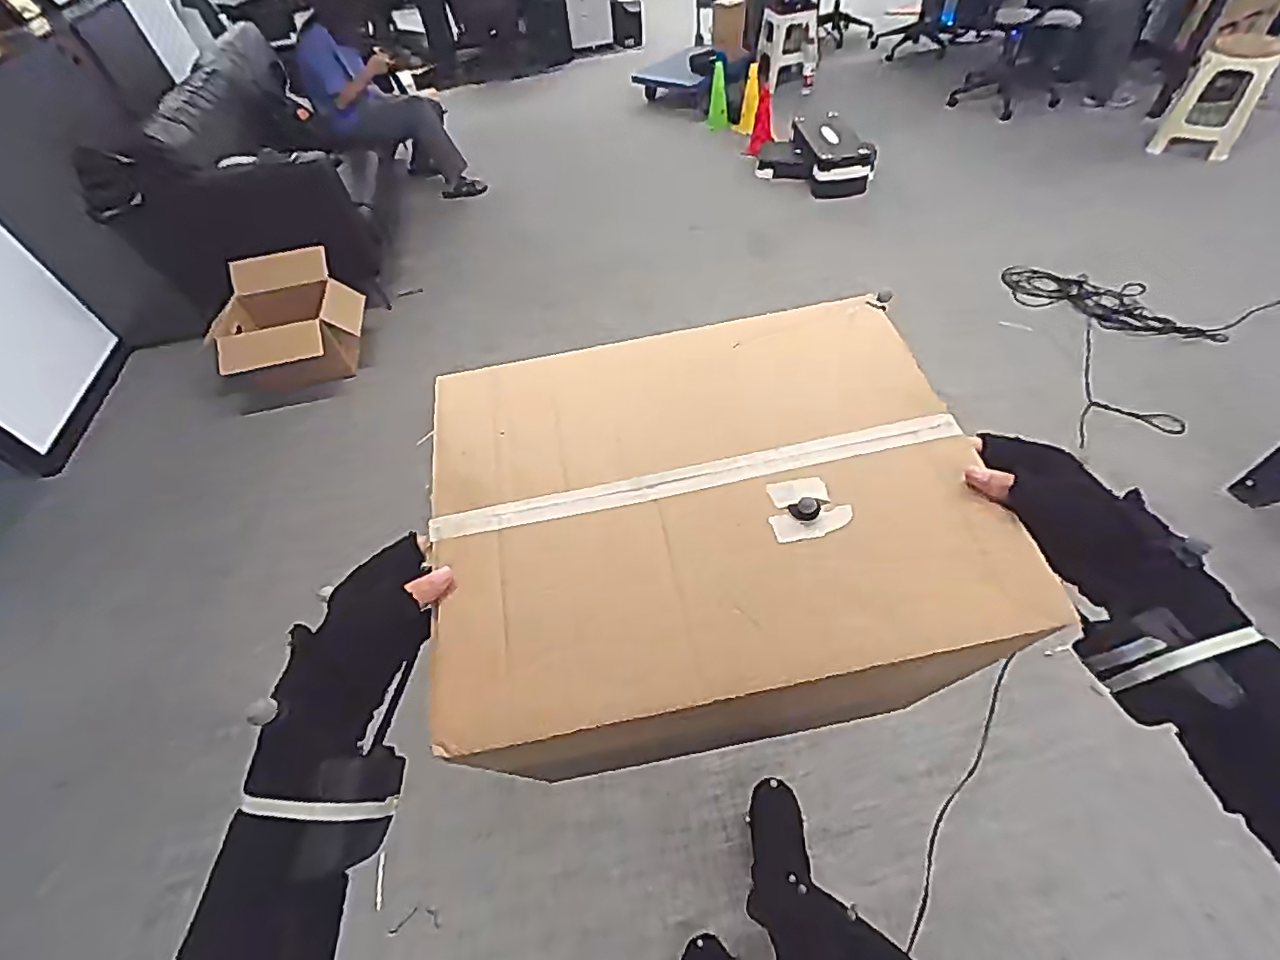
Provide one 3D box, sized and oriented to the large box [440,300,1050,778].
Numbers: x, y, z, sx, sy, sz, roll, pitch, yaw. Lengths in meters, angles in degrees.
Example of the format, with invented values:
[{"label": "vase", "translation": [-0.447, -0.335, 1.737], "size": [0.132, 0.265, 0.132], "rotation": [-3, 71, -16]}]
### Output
[{"label": "large box", "translation": [0.052, 0.075, 0.541], "size": [0.408, 0.320, 0.320], "rotation": [-11, 59, -3]}]
